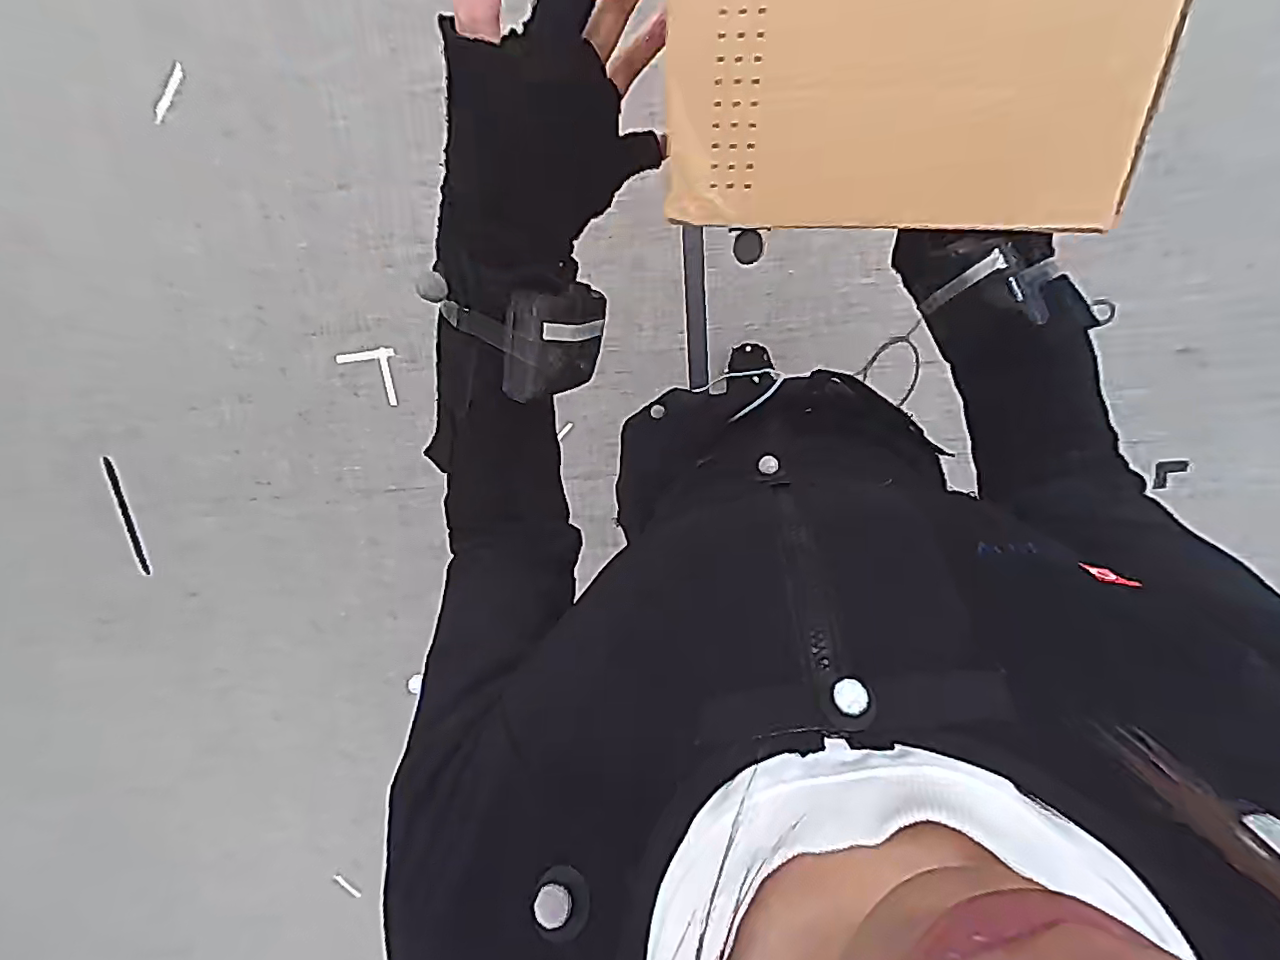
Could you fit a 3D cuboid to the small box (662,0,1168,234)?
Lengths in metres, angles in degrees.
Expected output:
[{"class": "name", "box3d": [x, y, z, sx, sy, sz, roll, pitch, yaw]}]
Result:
[{"class": "small box", "box3d": [0.097, -0.212, 0.251, 0.176, 0.168, 0.179, 3, 115, 4]}]
